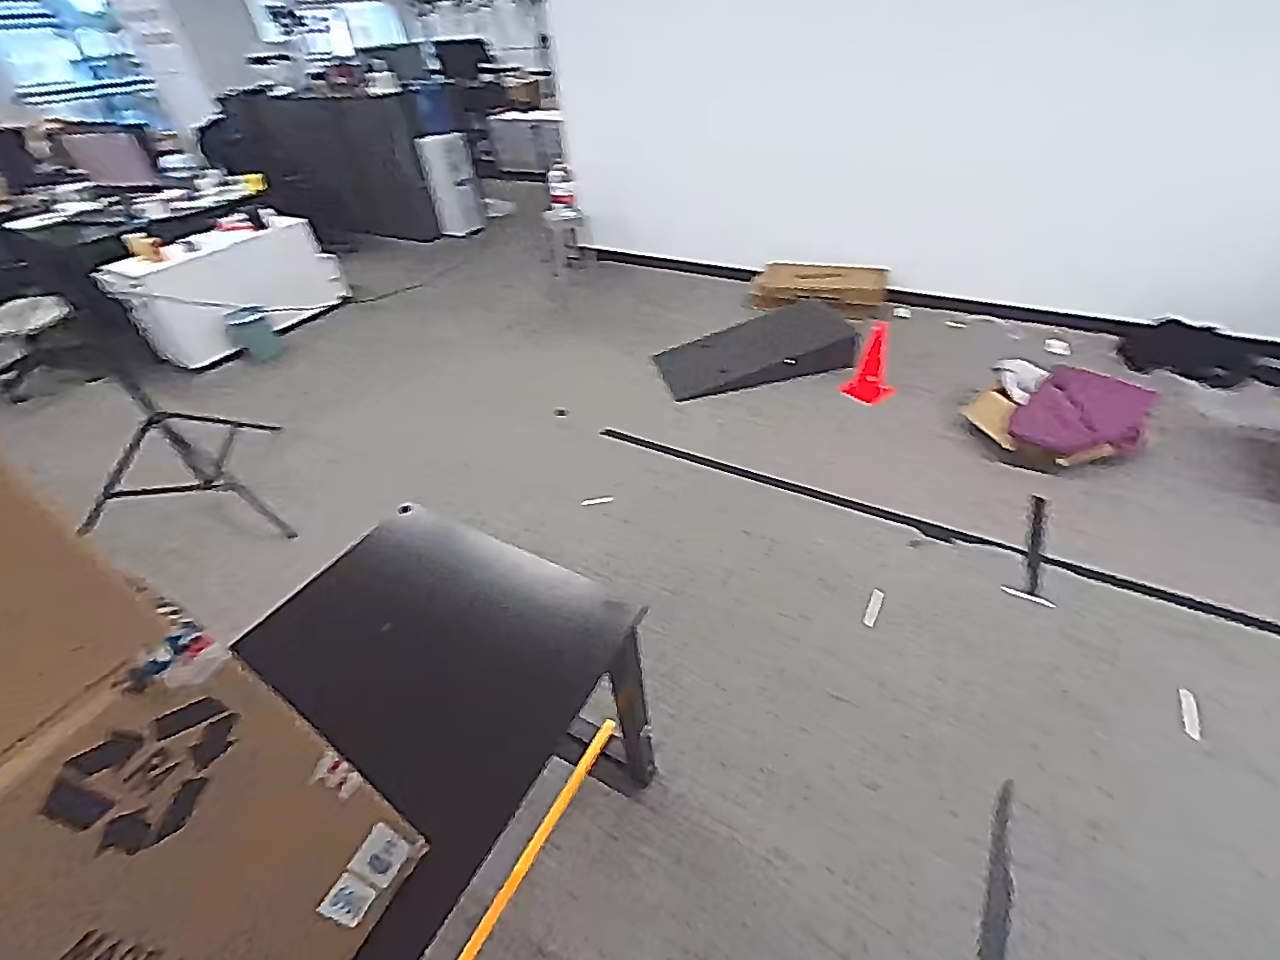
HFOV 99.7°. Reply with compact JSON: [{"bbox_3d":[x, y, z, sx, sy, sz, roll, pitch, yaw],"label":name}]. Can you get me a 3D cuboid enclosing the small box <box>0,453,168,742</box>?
[{"bbox_3d":[-0.433,0.066,0.296,0.168,0.176,0.179,17,45,20],"label":"small box"}]
